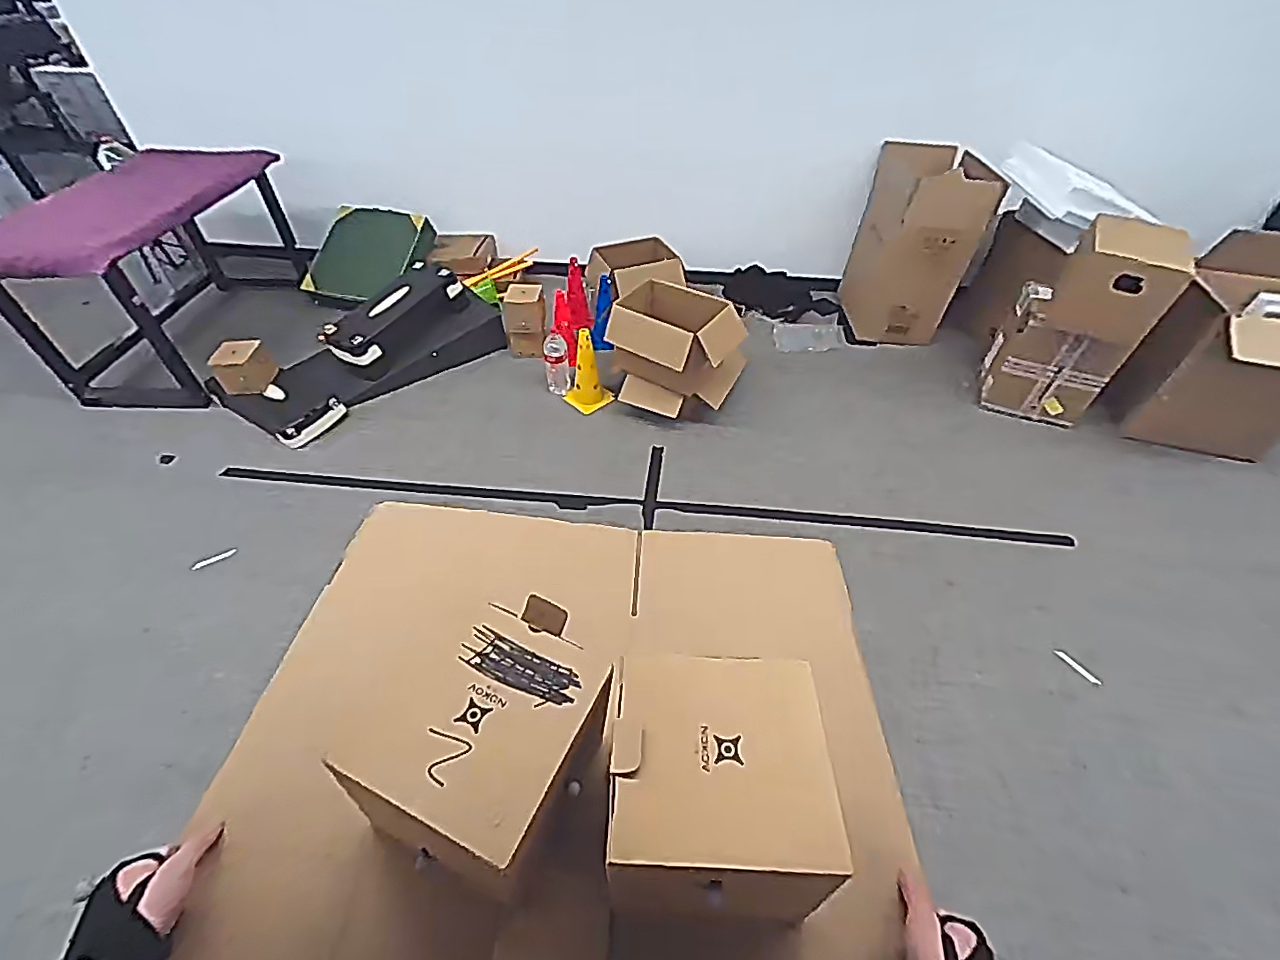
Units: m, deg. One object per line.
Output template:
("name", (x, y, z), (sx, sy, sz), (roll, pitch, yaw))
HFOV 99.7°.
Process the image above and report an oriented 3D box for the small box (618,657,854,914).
("small box", (0.073, 0.286, 0.506), (0.179, 0.176, 0.168), (1, 42, 2))
